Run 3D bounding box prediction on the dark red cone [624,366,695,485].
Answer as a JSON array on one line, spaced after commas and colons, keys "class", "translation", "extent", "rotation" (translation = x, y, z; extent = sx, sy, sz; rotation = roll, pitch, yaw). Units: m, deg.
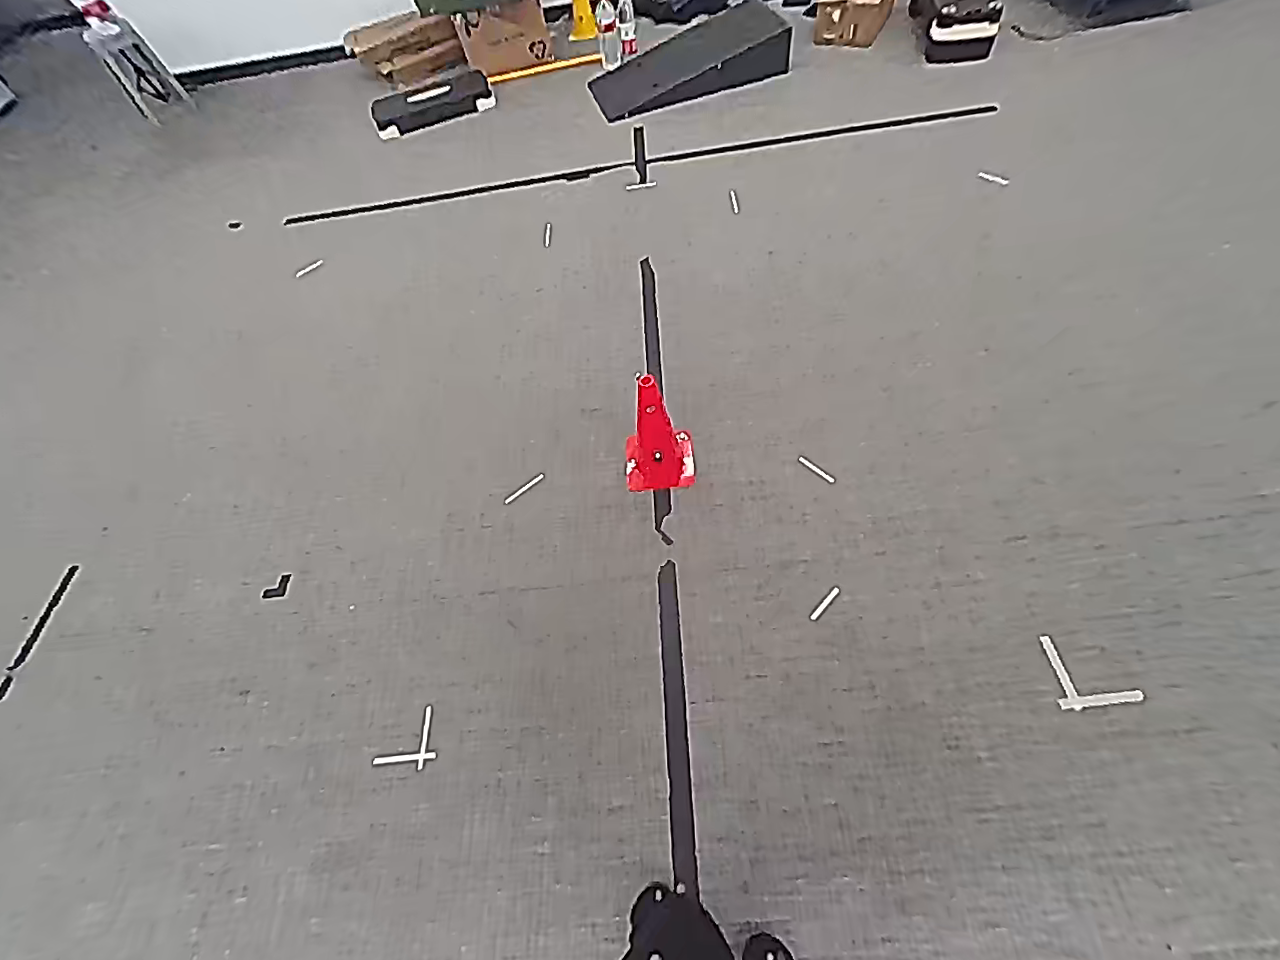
[{"class": "dark red cone", "translation": [0.032, -0.161, 1.454], "extent": [0.201, 0.394, 0.202], "rotation": [-7, 58, 5]}]
